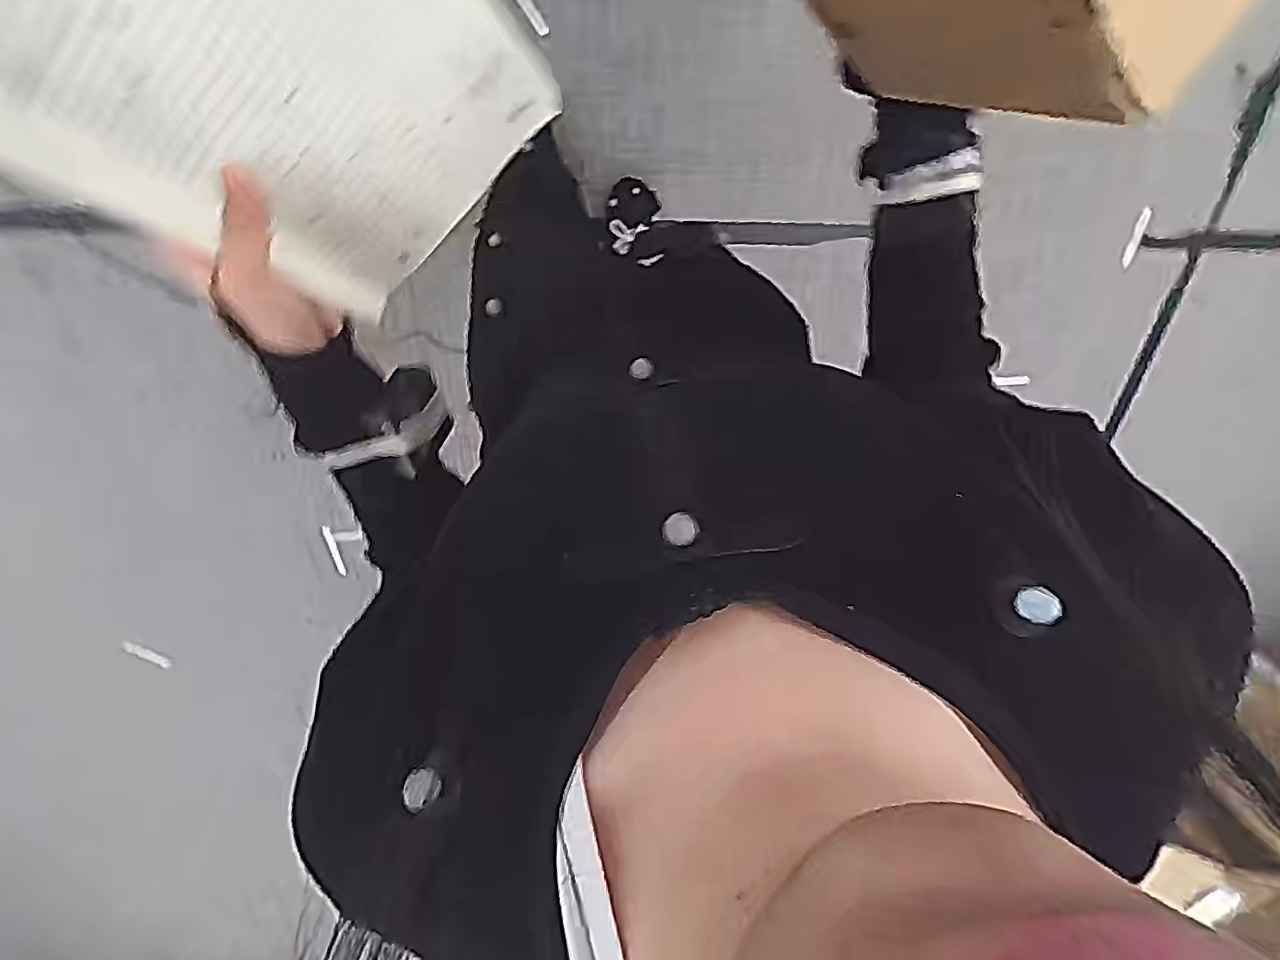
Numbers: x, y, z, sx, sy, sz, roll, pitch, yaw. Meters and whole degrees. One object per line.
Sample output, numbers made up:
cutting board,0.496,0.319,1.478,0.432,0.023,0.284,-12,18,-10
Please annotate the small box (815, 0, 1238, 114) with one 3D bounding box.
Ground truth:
small box,0.156,-0.282,0.205,0.168,0.176,0.179,16,118,-34
